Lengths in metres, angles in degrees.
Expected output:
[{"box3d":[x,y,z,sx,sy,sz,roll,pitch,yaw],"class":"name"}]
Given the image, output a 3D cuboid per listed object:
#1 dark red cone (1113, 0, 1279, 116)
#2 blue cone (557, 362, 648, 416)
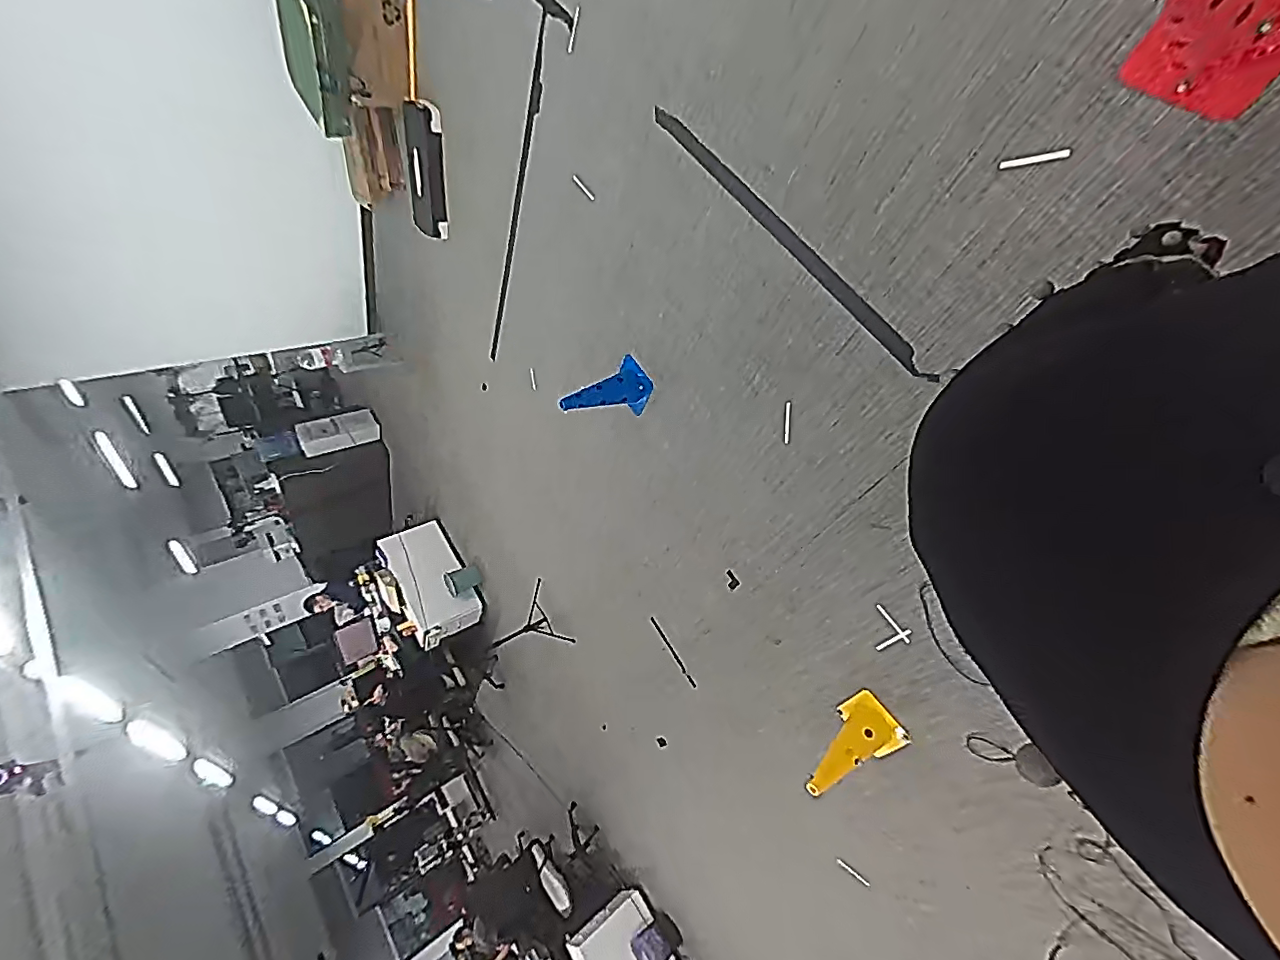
[{"box3d":[0.751,-0.632,0.718,0.202,0.394,0.201,49,143,25],"class":"dark red cone"},{"box3d":[-0.165,-0.332,2.192,0.193,0.380,0.192,55,145,19],"class":"blue cone"}]
